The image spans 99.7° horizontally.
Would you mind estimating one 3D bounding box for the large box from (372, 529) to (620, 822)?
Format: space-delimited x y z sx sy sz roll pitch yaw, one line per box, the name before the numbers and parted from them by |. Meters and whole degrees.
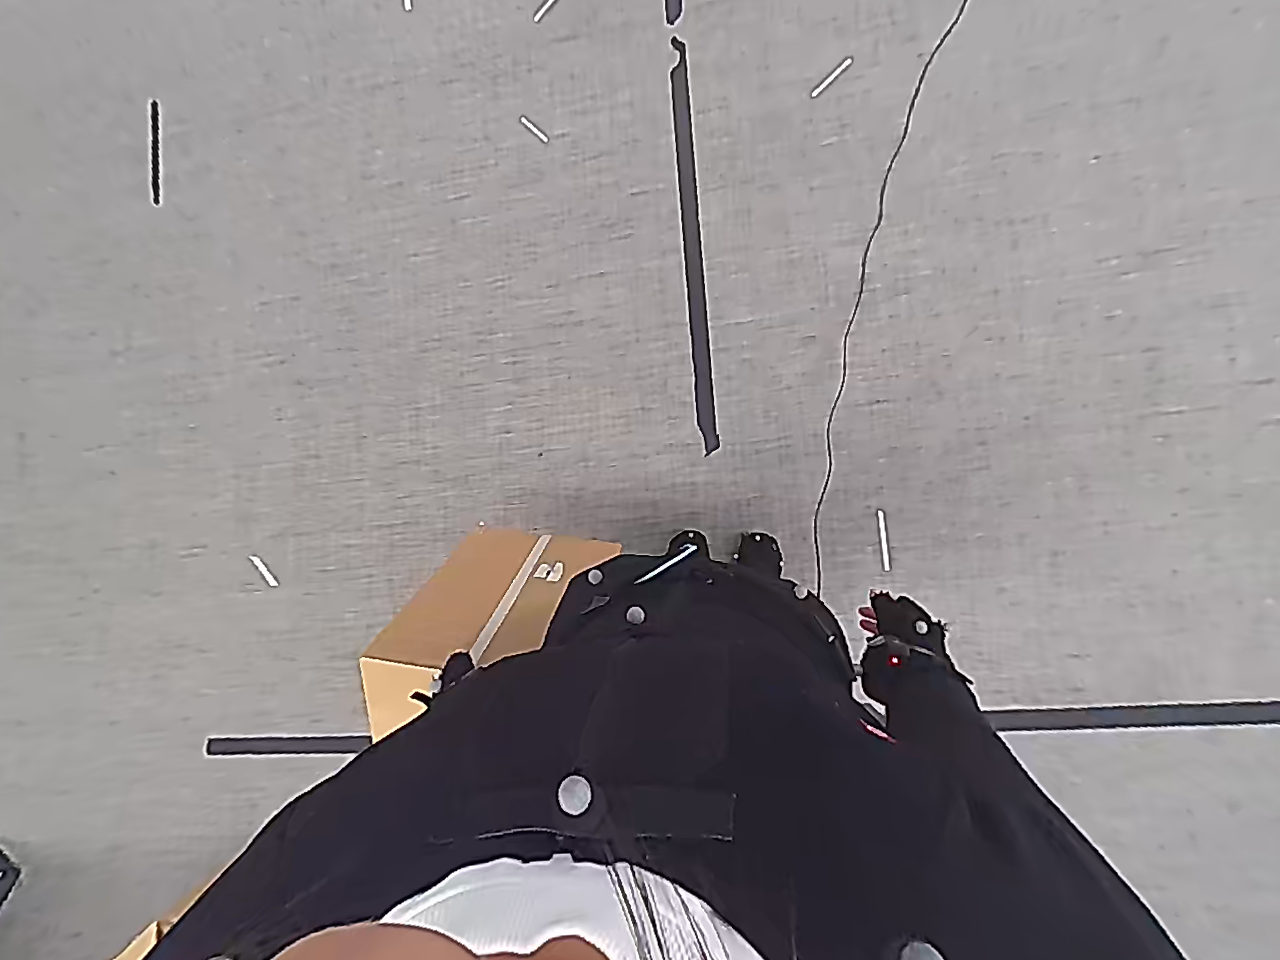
large box | -0.227 0.332 1.006 0.320 0.408 0.320 7 113 6
